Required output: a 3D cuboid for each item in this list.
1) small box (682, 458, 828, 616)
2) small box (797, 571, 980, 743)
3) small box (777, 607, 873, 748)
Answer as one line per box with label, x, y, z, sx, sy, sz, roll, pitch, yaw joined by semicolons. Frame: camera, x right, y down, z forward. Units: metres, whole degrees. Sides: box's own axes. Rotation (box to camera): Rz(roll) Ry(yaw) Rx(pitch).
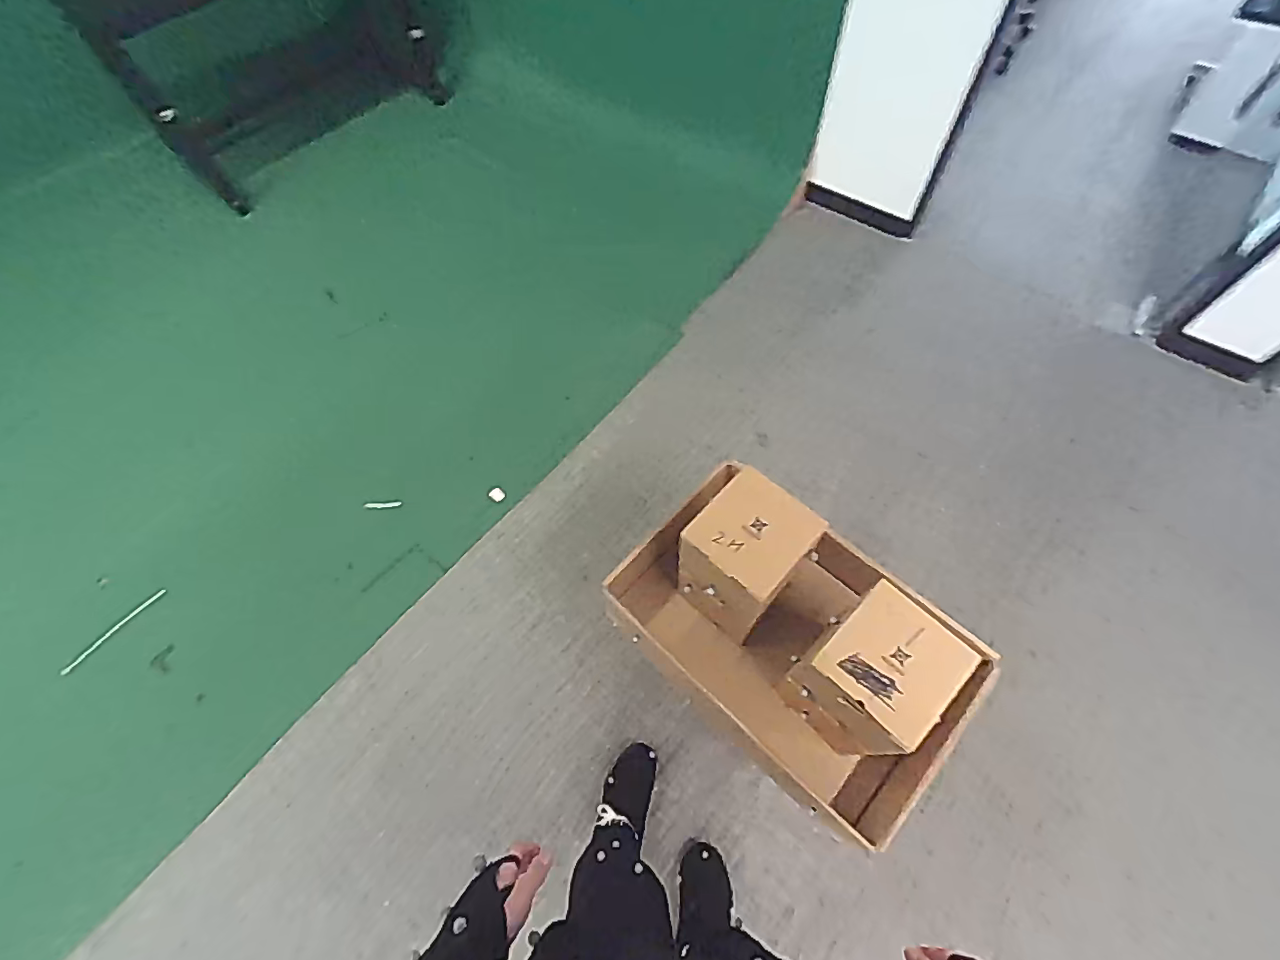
small box;0.183;0.101;0.922;0.168;0.176;0.179;40;72;21
small box;0.361;0.276;0.824;0.179;0.176;0.168;-41;68;-17
small box;0.368;0.350;0.971;0.179;0.176;0.168;-42;68;-16
